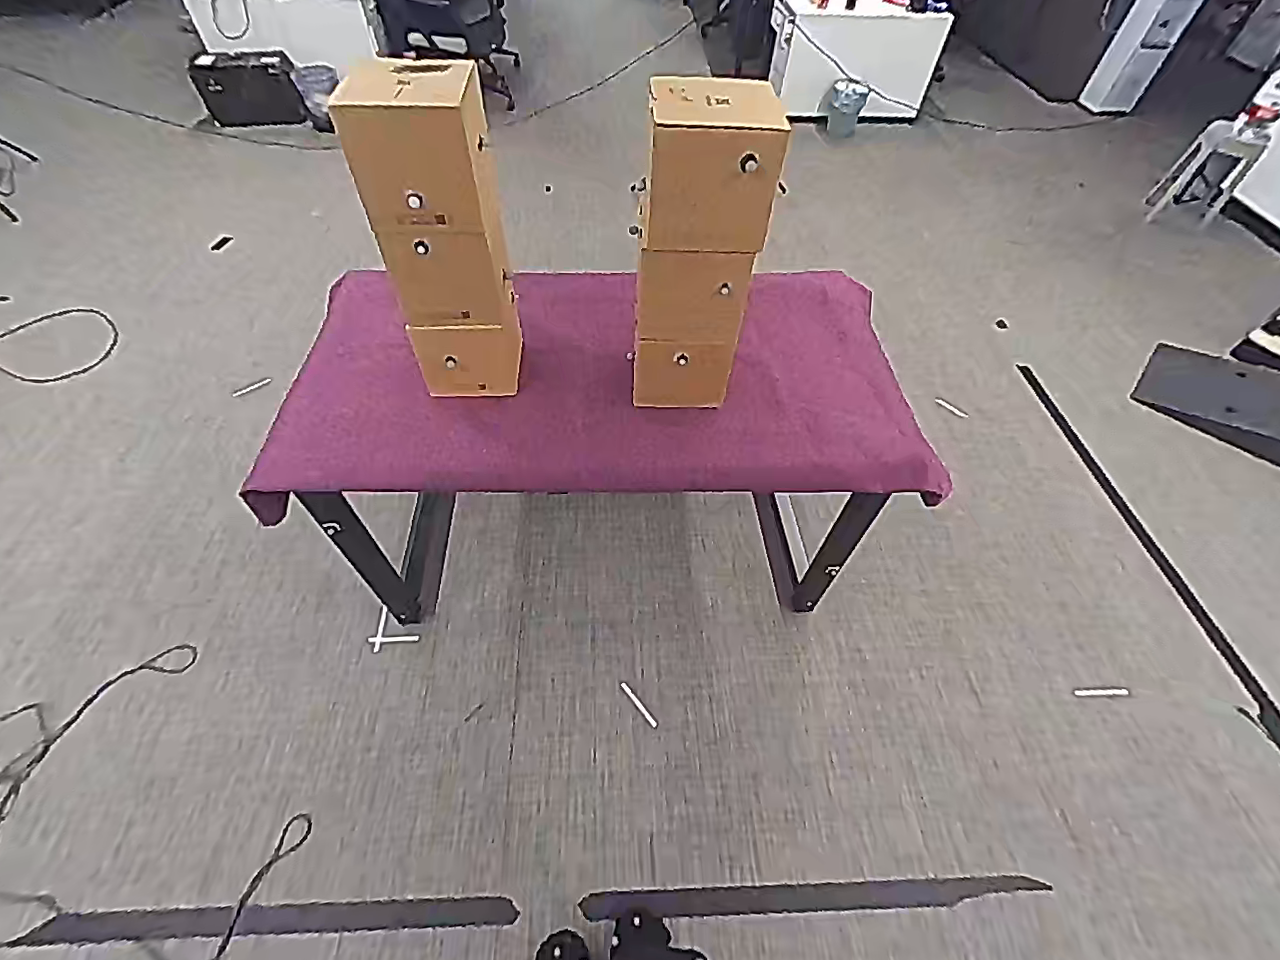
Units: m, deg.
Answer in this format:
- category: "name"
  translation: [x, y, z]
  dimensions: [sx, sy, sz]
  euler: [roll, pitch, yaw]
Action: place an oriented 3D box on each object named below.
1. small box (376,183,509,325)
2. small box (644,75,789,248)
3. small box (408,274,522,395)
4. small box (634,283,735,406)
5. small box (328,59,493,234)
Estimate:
- category: "small box"
  translation: [-0.321, -0.384, 0.920]
  dimensions: [0.168, 0.176, 0.179]
  euler: [-4, 52, -4]
- category: "small box"
  translation: [0.097, -0.454, 0.781]
  dimensions: [0.179, 0.176, 0.168]
  euler: [0, 53, -2]
- category: "small box"
  translation: [-0.326, -0.279, 1.046]
  dimensions: [0.168, 0.176, 0.179]
  euler: [-2, 52, -4]
- category: "small box"
  translation: [0.077, -0.258, 1.046]
  dimensions: [0.179, 0.176, 0.168]
  euler: [1, 54, -2]
- category: "small box"
  translation: [-0.315, -0.483, 0.788]
  dimensions: [0.168, 0.176, 0.179]
  euler: [-3, 53, -4]
